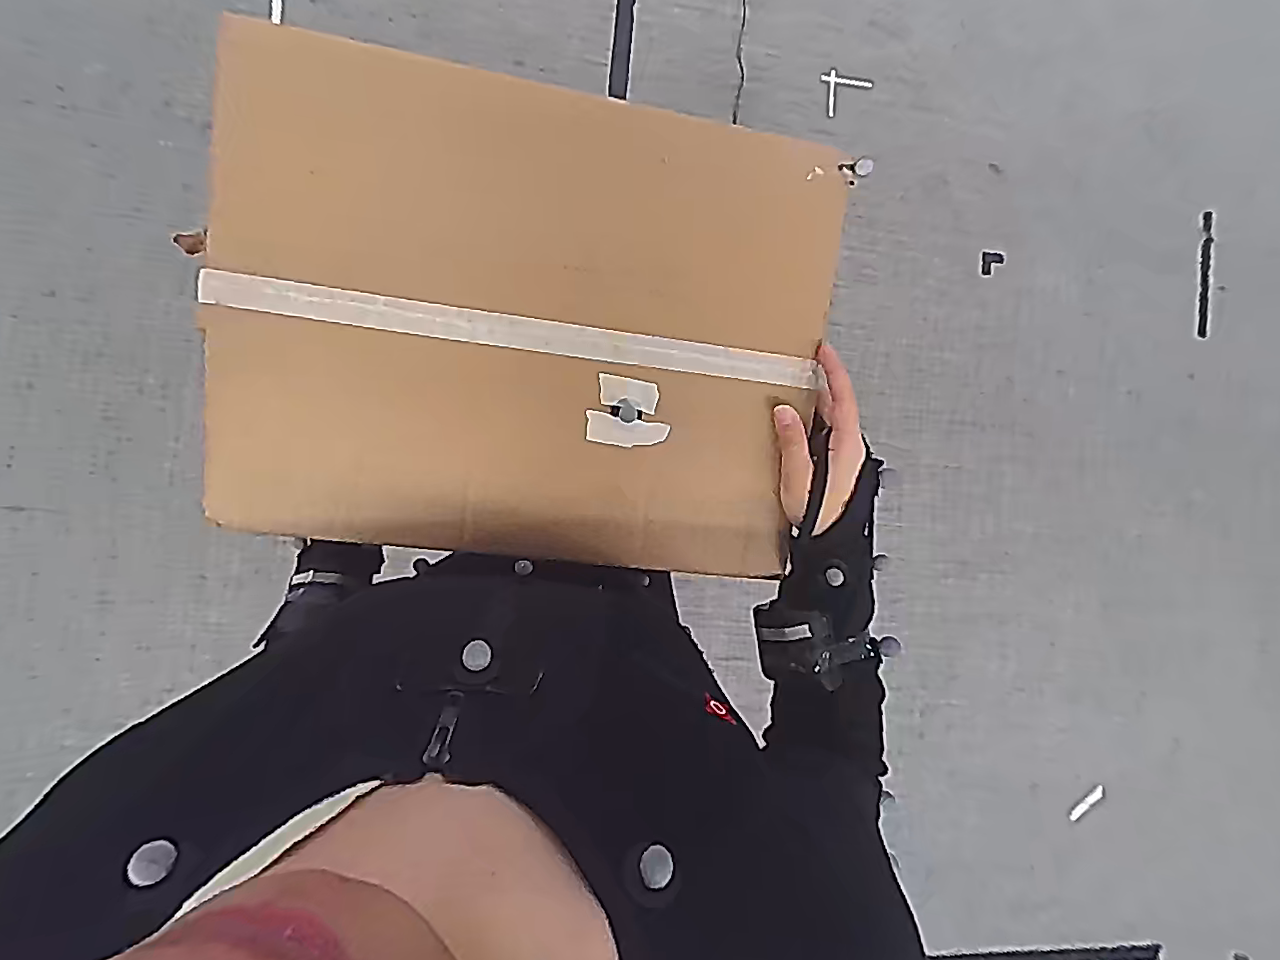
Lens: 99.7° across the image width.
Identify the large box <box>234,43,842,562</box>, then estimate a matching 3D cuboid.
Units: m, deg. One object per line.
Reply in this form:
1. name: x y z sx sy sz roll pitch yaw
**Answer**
1. large box: -0.086 -0.122 0.523 0.408 0.320 0.320 6 98 -10
